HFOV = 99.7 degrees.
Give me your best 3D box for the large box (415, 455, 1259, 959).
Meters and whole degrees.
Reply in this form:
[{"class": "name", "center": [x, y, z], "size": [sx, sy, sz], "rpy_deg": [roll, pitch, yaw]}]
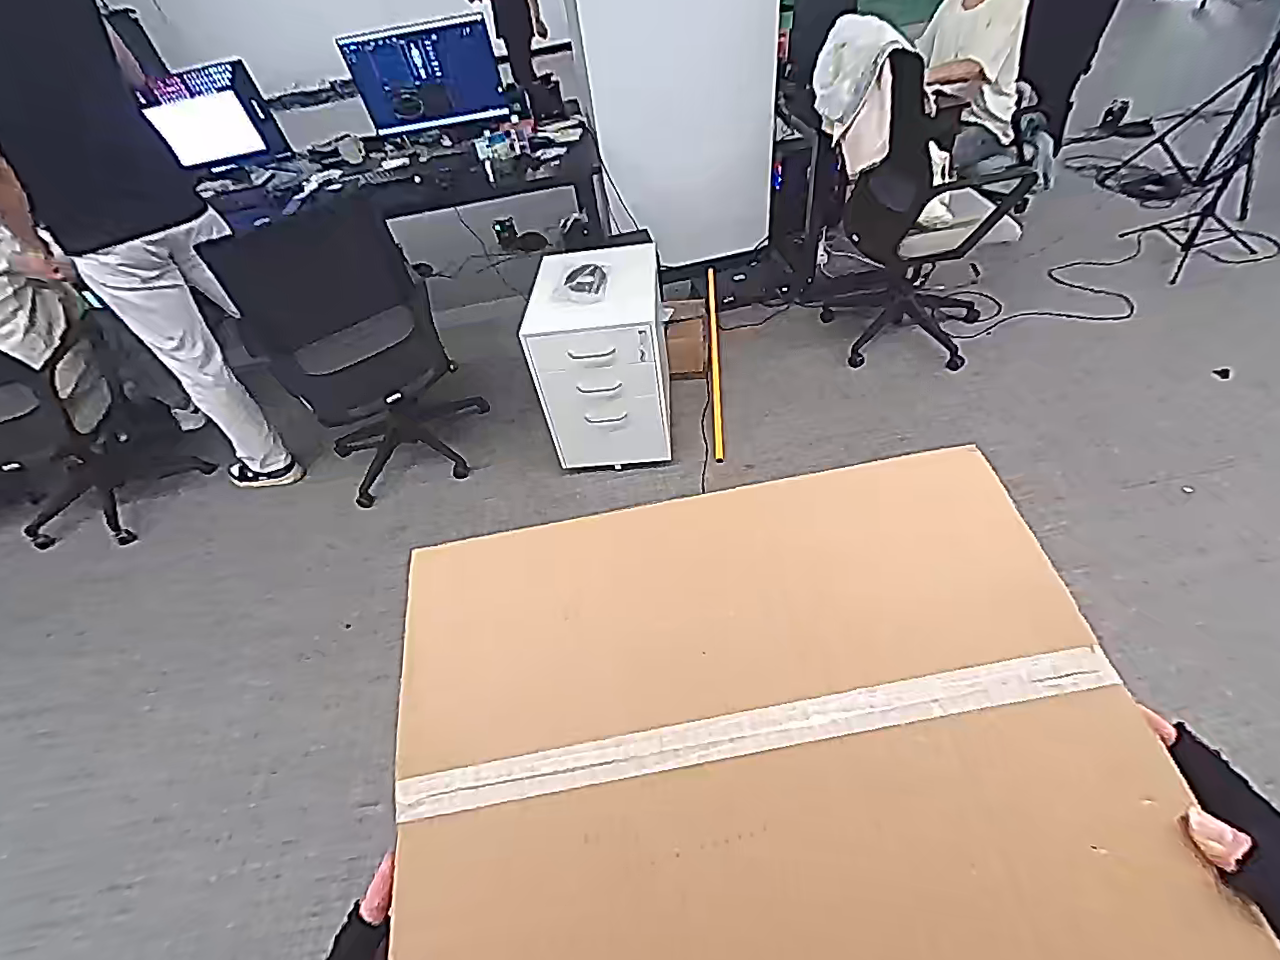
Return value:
[{"class": "large box", "center": [0.080, 0.225, 0.443], "size": [0.408, 0.320, 0.320], "rpy_deg": [-11, 59, 0]}]
